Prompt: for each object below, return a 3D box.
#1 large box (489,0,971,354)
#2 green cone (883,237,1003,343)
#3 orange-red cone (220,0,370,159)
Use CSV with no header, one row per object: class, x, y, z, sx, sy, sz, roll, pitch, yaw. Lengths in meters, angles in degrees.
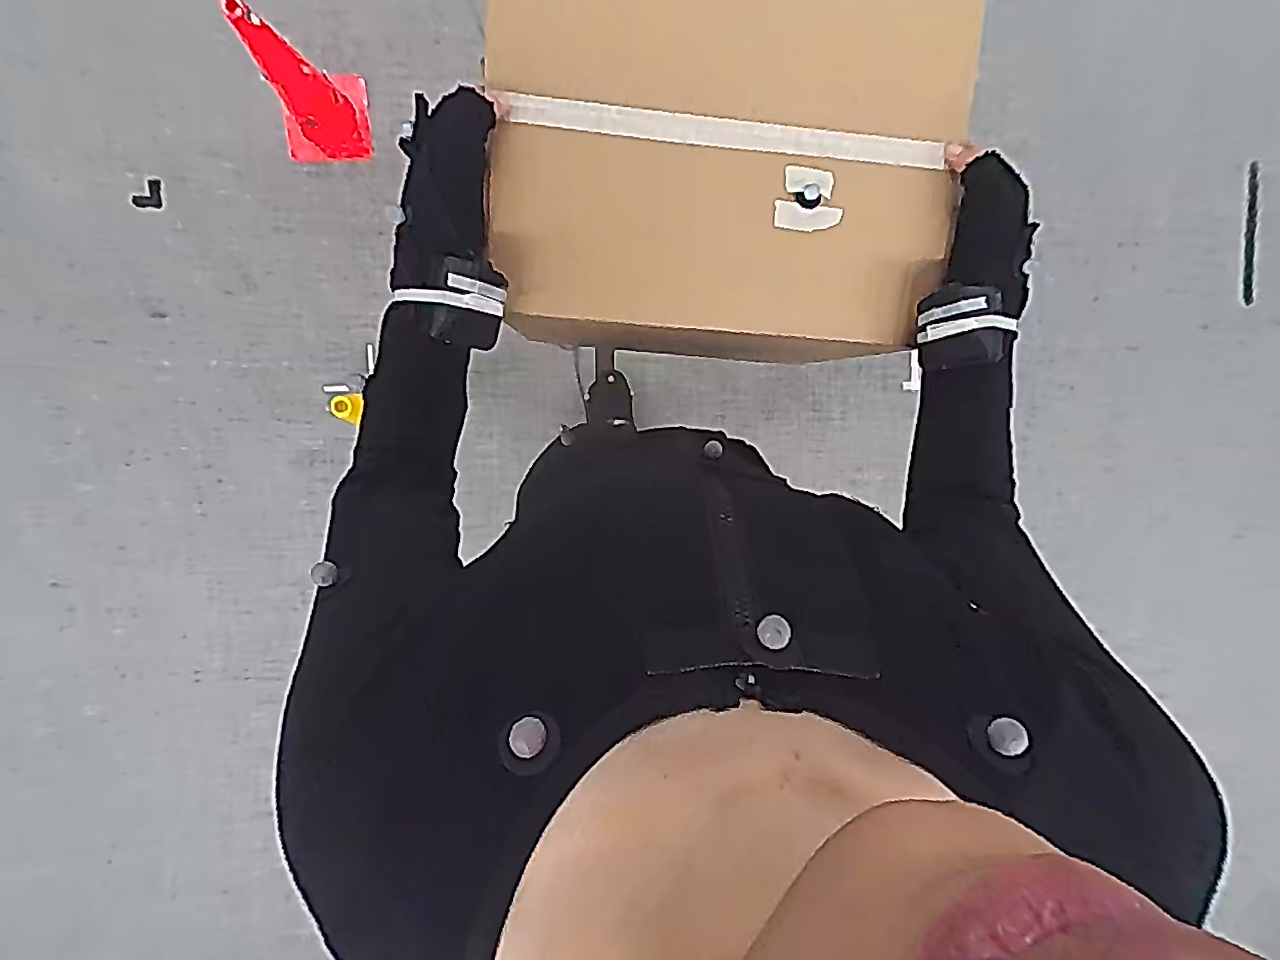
large box,0.060,-0.317,0.599,0.408,0.320,0.320,3,99,-6
green cone,0.719,-0.492,1.302,0.202,0.368,0.200,-38,97,-2
orange-red cone,-0.763,-0.881,1.167,0.198,0.360,0.199,-3,96,-3
